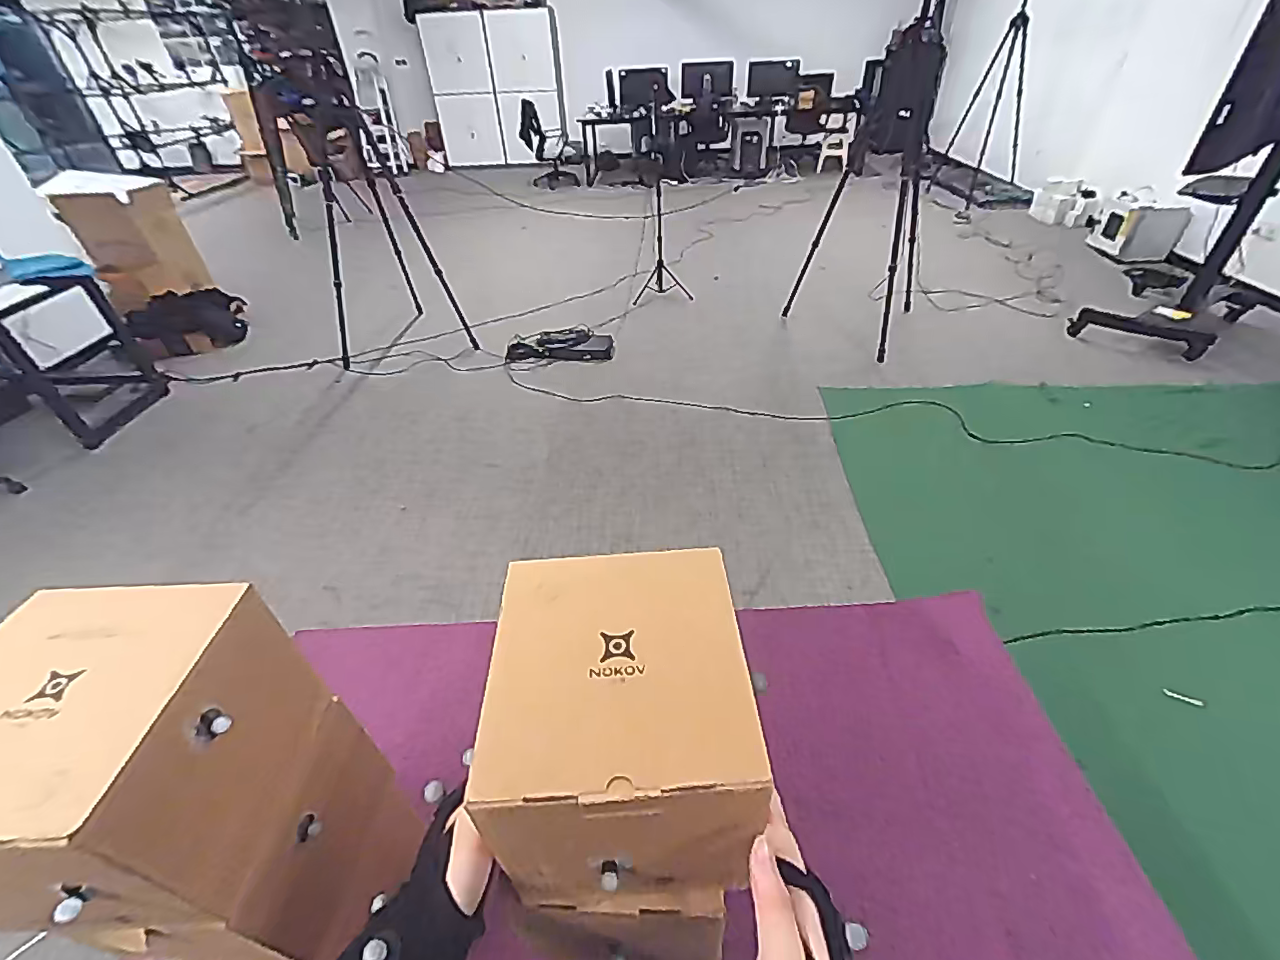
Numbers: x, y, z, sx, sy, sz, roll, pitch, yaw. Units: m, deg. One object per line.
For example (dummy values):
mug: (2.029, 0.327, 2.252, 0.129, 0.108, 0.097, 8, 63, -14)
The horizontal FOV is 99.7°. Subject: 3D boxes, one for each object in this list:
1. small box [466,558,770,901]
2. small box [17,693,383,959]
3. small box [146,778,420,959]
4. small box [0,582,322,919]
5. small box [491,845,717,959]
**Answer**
small box: (-0.013, 0.180, 0.401, 0.168, 0.176, 0.179, -2, 40, -1)
small box: (-0.369, 0.319, 0.503, 0.168, 0.176, 0.179, 1, 39, 3)
small box: (-0.368, 0.451, 0.602, 0.168, 0.176, 0.179, 1, 40, 2)
small box: (-0.372, 0.196, 0.397, 0.168, 0.176, 0.179, 0, 39, 1)
small box: (-0.019, 0.313, 0.496, 0.168, 0.176, 0.179, 1, 40, 4)
